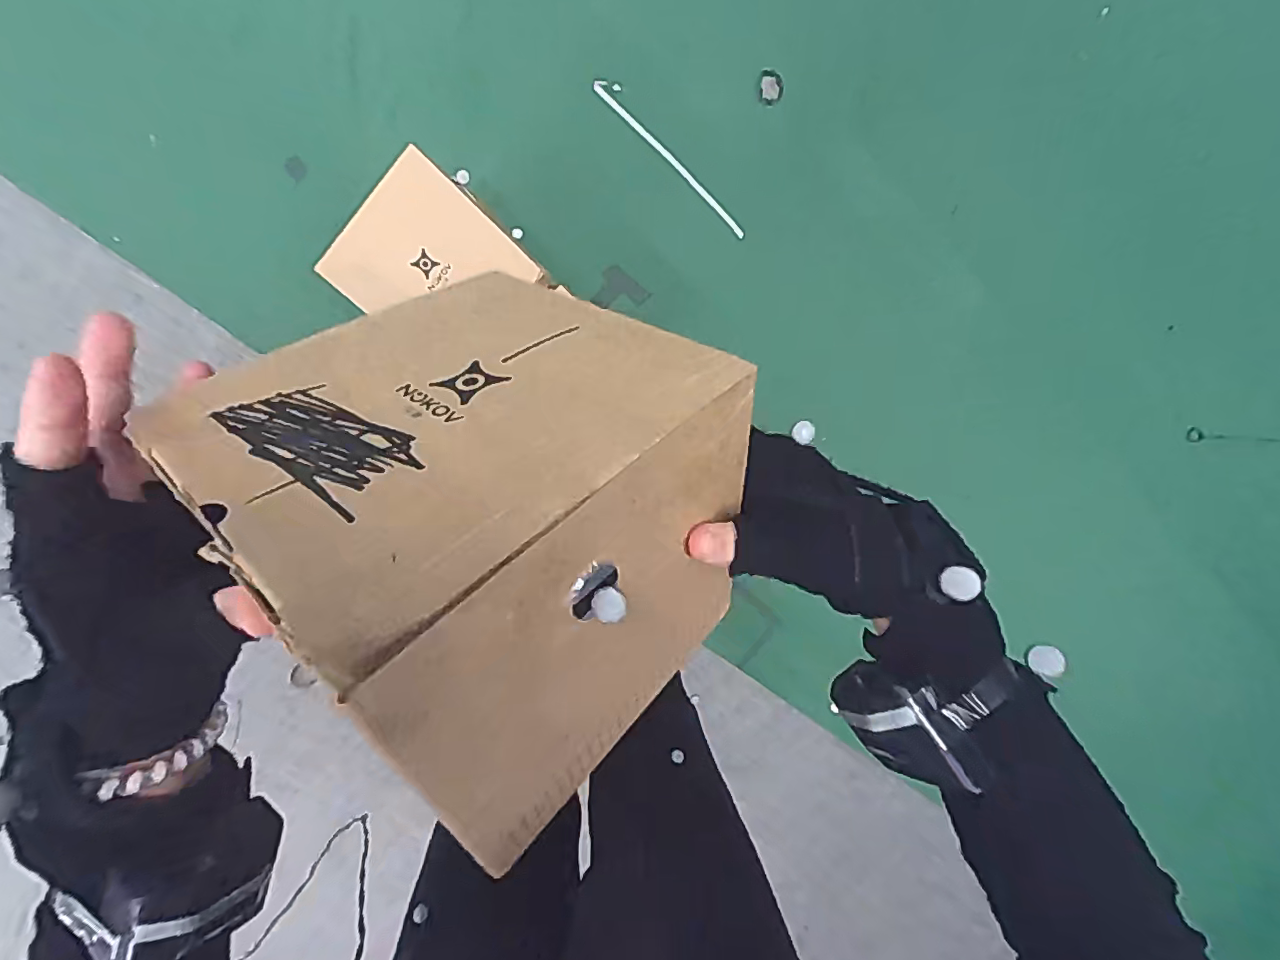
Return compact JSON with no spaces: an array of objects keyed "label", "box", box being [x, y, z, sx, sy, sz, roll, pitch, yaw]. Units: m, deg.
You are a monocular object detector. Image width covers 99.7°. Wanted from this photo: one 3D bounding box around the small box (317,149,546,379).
[{"label":"small box","box":[-0.232,-0.247,0.653,0.179,0.176,0.168,41,100,-18]}]
